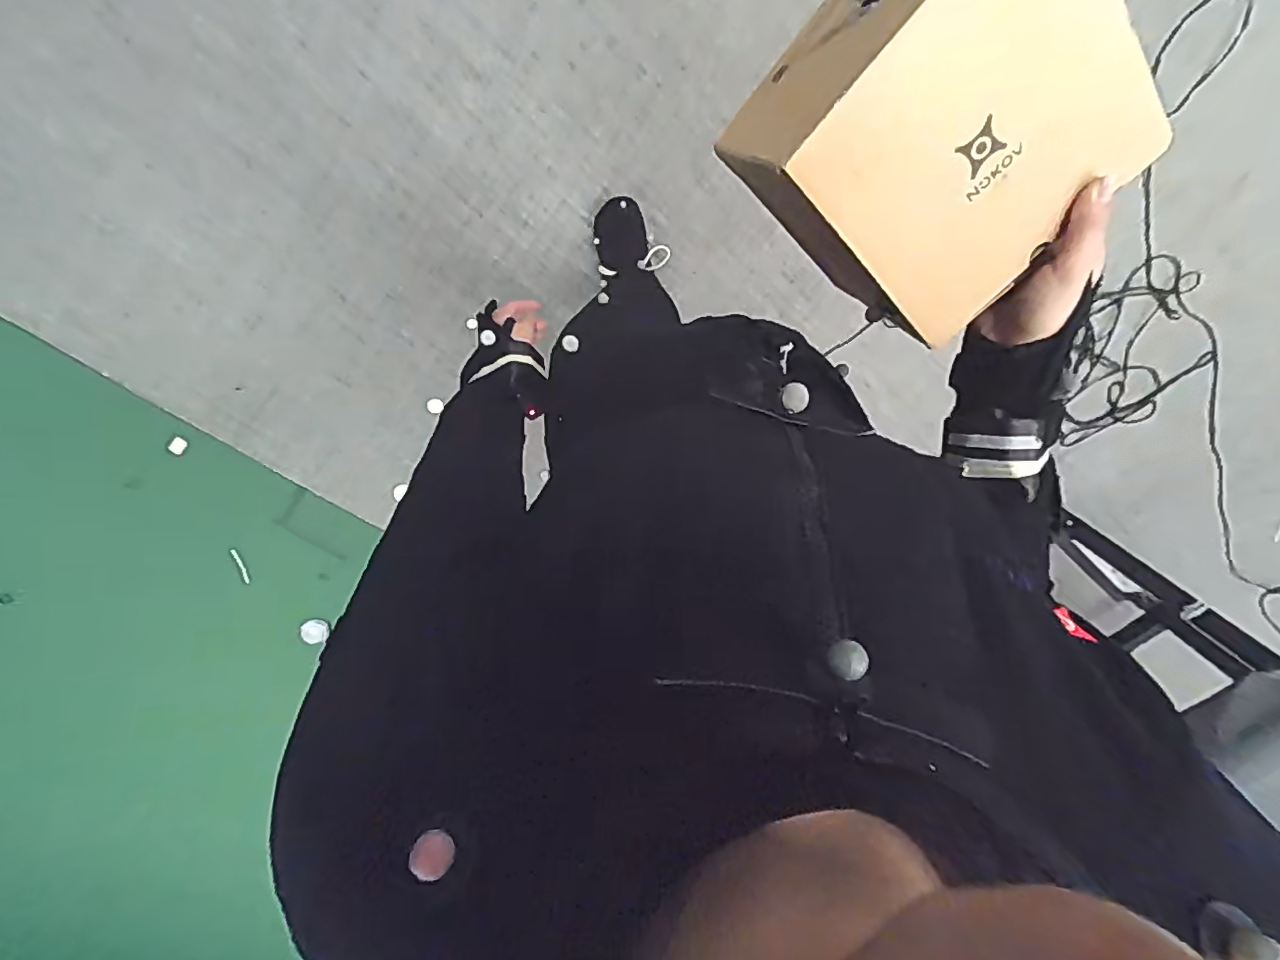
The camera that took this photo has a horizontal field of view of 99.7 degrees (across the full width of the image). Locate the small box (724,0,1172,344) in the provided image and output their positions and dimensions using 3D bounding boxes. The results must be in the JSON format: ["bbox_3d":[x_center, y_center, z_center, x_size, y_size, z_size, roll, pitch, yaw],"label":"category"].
[{"bbox_3d":[0.184,-0.231,0.370,0.179,0.176,0.168,32,114,-28],"label":"small box"}]
